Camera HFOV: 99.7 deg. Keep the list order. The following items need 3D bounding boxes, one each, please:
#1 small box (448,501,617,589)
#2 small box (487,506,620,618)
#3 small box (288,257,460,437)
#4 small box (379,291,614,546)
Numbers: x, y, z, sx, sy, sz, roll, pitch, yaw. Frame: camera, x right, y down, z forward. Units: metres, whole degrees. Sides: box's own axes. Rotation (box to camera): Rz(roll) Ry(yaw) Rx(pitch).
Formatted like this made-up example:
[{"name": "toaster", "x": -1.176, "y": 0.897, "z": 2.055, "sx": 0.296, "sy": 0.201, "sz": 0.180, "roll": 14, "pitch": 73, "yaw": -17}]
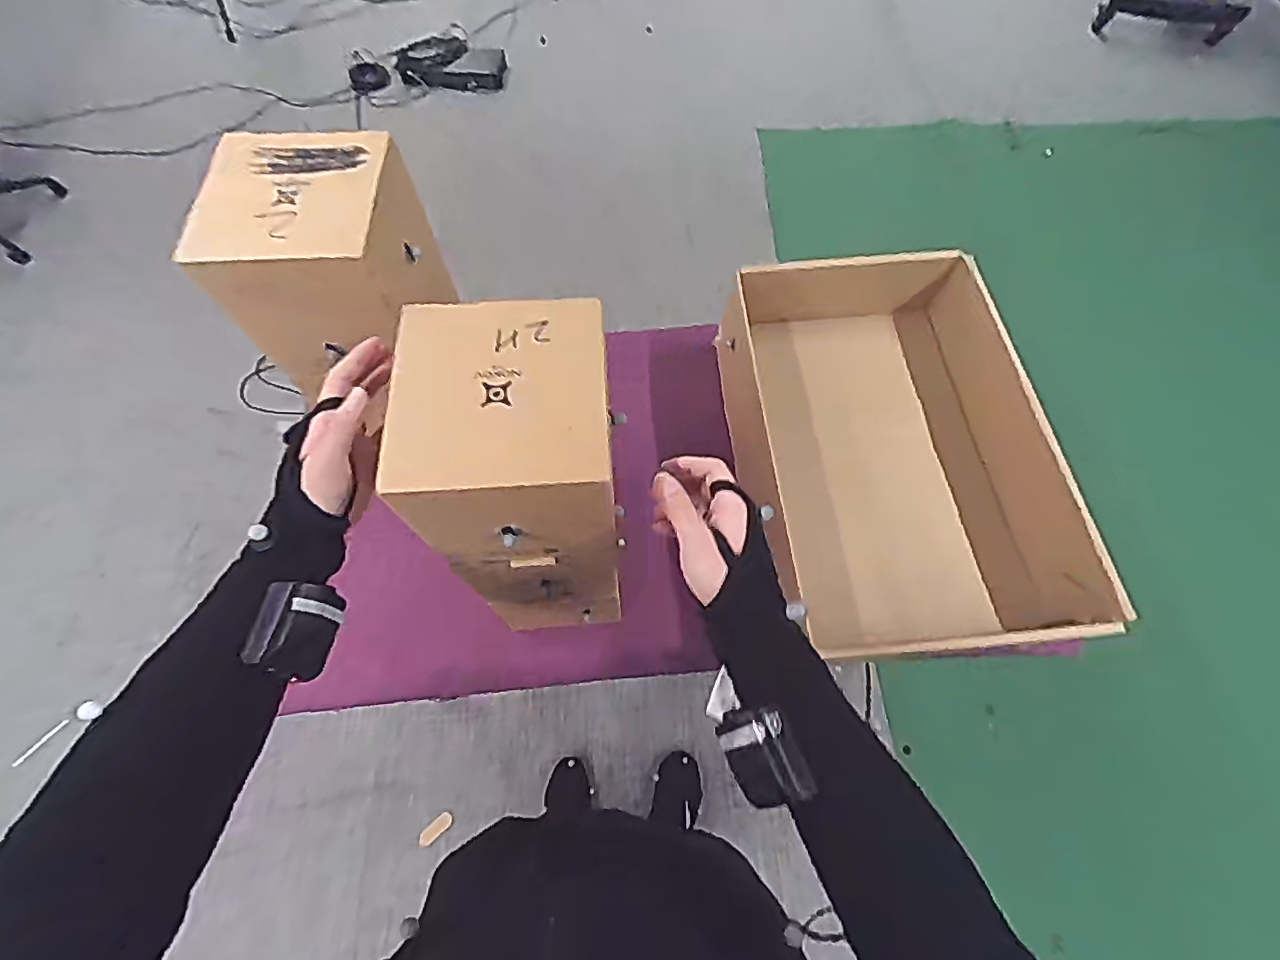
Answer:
[{"name": "small box", "x": -0.115, "y": 0.027, "z": 0.639, "sx": 0.168, "sy": 0.176, "sz": 0.179, "roll": -4, "pitch": 65, "yaw": -3}, {"name": "small box", "x": -0.117, "y": 0.099, "z": 0.786, "sx": 0.168, "sy": 0.176, "sz": 0.179, "roll": -3, "pitch": 64, "yaw": -3}, {"name": "small box", "x": -0.327, "y": -0.174, "z": 0.730, "sx": 0.168, "sy": 0.176, "sz": 0.179, "roll": -1, "pitch": 66, "yaw": -1}, {"name": "small box", "x": -0.109, "y": -0.044, "z": 0.489, "sx": 0.168, "sy": 0.176, "sz": 0.179, "roll": -2, "pitch": 64, "yaw": -3}]
